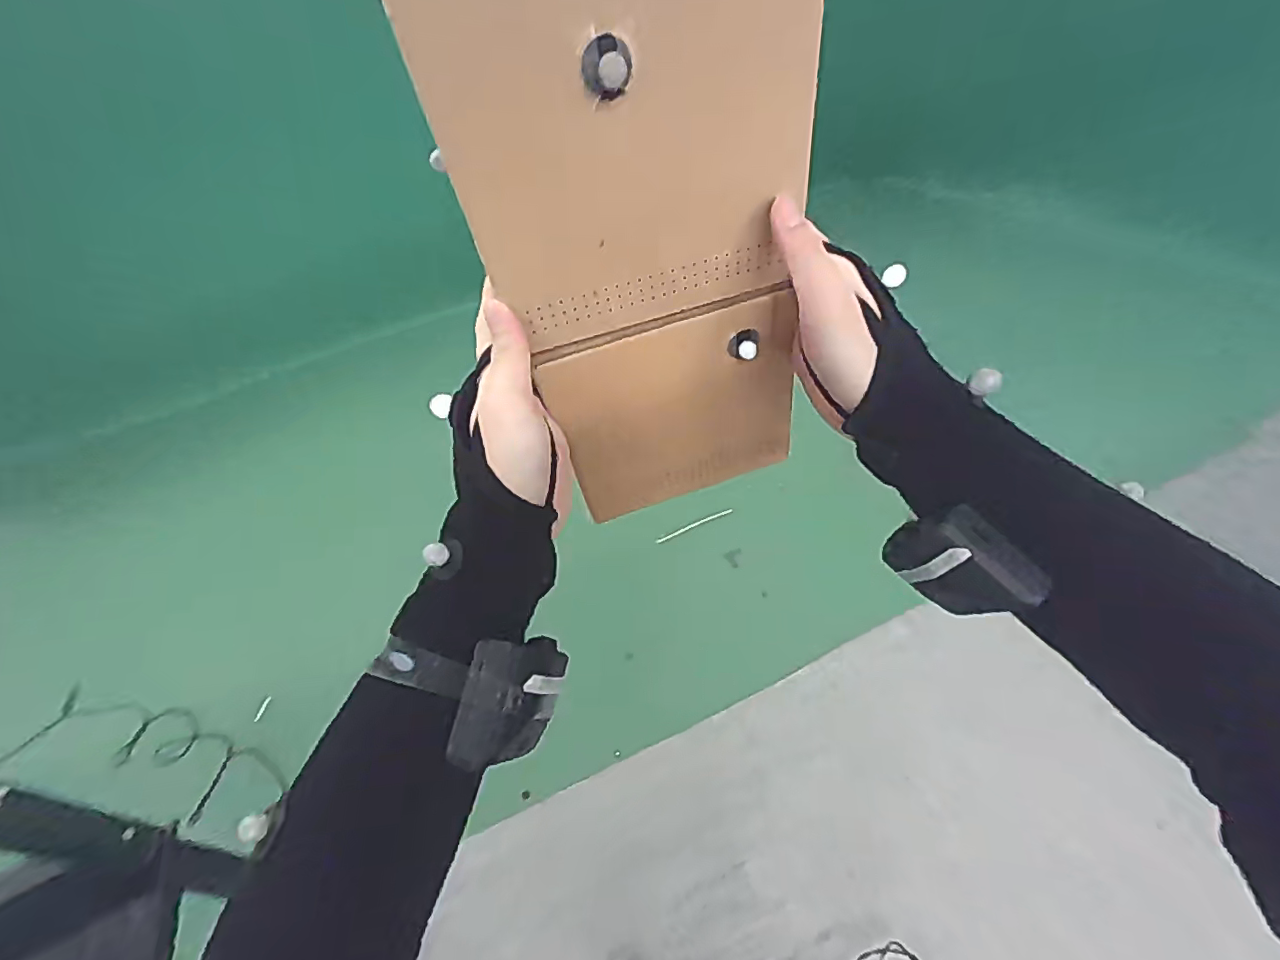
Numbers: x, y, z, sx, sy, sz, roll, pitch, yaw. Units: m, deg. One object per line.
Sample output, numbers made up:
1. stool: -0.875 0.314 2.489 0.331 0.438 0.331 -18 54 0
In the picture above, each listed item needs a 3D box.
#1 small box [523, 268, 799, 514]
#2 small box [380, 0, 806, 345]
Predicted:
1. small box: 0.010 -0.097 0.435 0.179 0.176 0.168 -18 49 -3
2. small box: -0.017 -0.202 0.308 0.179 0.176 0.168 -16 50 -3
